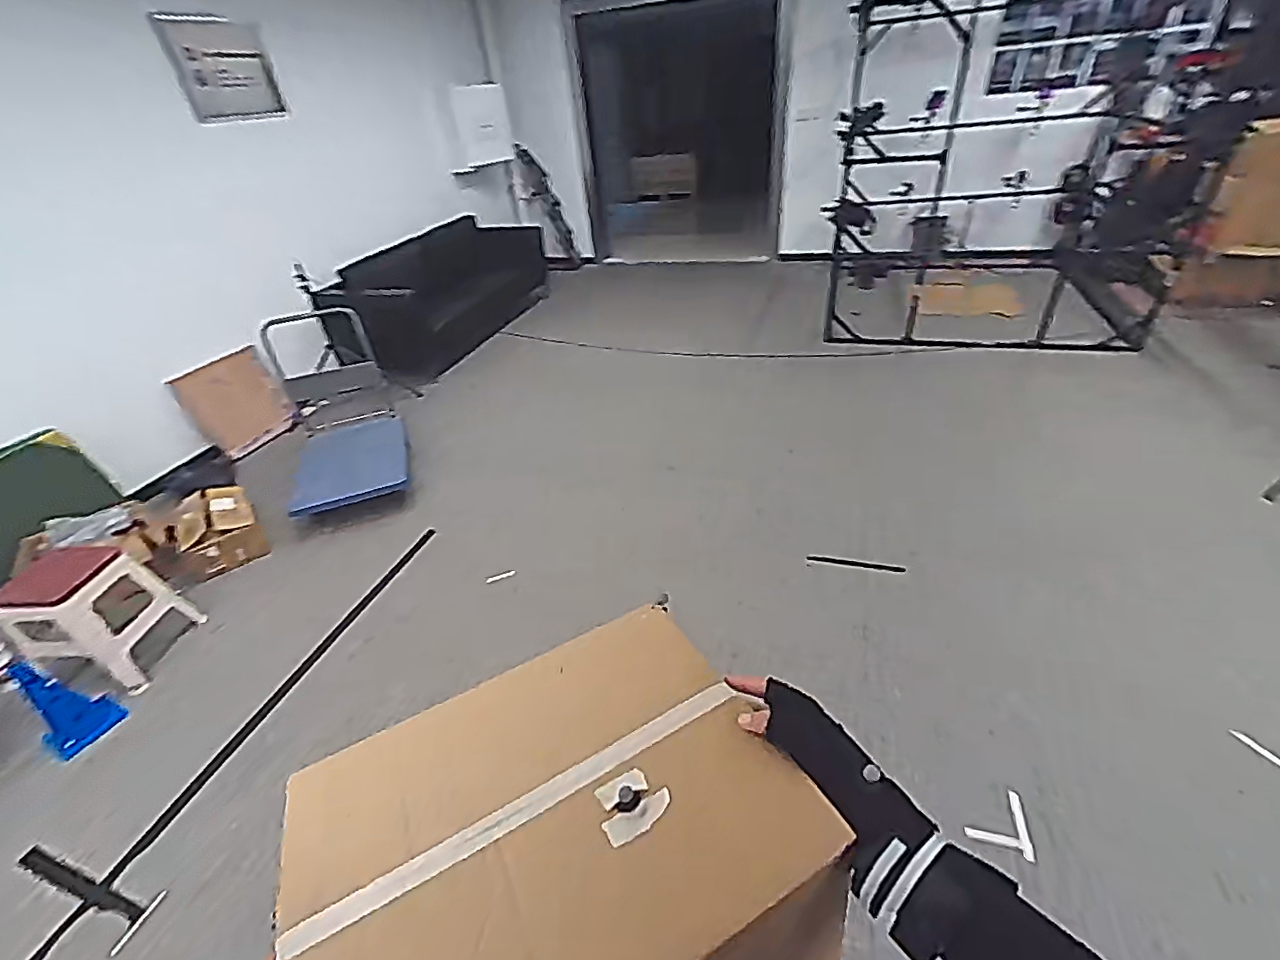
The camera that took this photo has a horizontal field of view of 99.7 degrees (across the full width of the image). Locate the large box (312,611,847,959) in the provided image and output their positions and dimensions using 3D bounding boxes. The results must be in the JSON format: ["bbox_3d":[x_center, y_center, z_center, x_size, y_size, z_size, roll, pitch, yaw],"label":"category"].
[{"bbox_3d":[-0.055,0.413,0.550,0.408,0.320,0.320,-21,32,-19],"label":"large box"}]
